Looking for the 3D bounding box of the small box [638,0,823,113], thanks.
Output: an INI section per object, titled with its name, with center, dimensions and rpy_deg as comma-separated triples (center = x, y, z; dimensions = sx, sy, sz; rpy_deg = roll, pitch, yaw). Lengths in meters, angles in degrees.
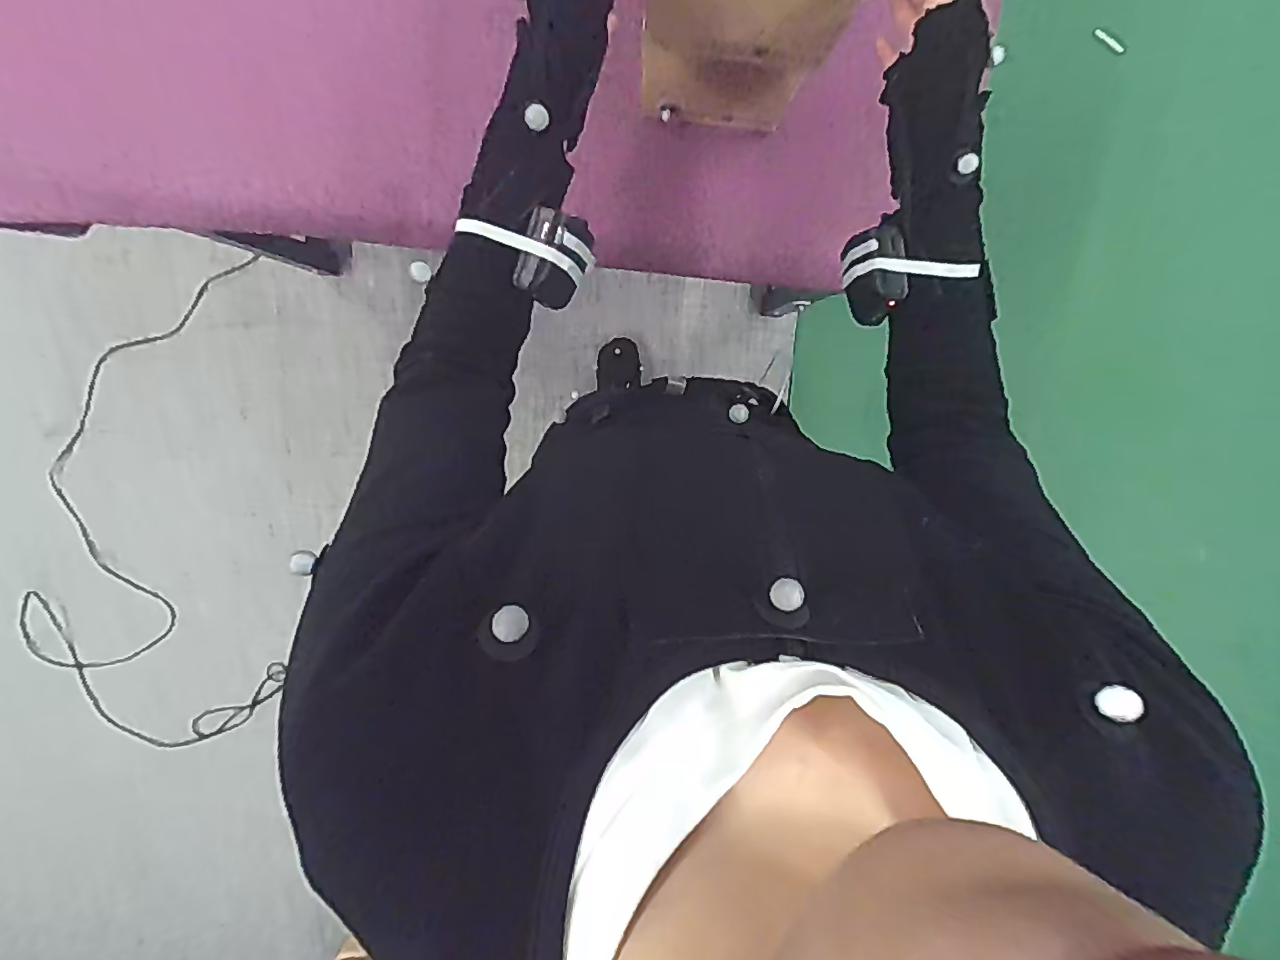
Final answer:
[small box]
center = 0.091, -0.511, 0.546
dimensions = 0.168, 0.176, 0.179
rpy_deg = 9, 102, -4
